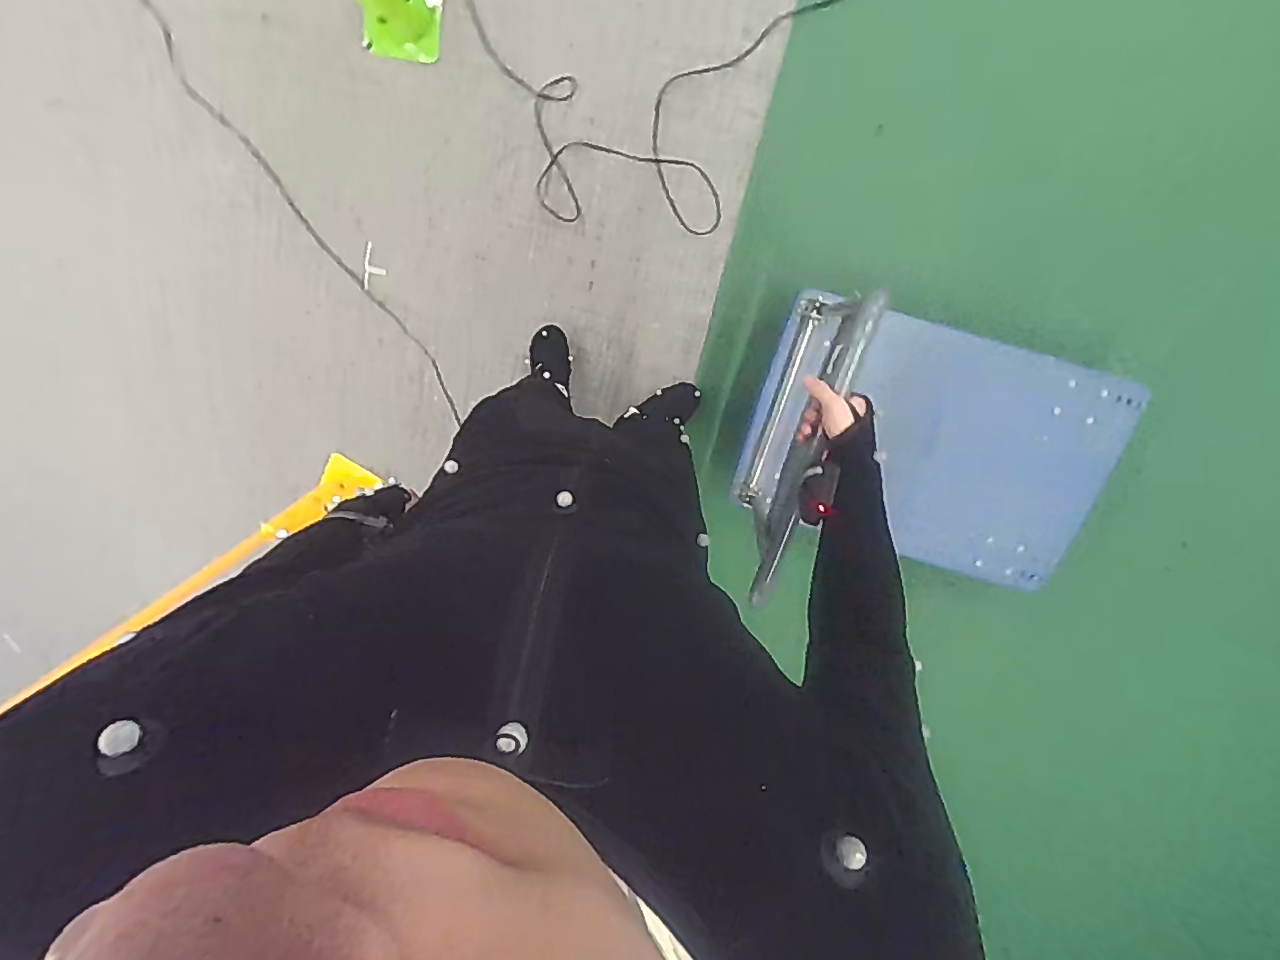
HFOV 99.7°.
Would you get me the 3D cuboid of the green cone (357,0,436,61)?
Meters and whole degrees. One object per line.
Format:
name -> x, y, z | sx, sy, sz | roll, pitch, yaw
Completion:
green cone -> -0.627, -1.135, 1.192 | 0.200, 0.368, 0.202 | 11, 105, 3
